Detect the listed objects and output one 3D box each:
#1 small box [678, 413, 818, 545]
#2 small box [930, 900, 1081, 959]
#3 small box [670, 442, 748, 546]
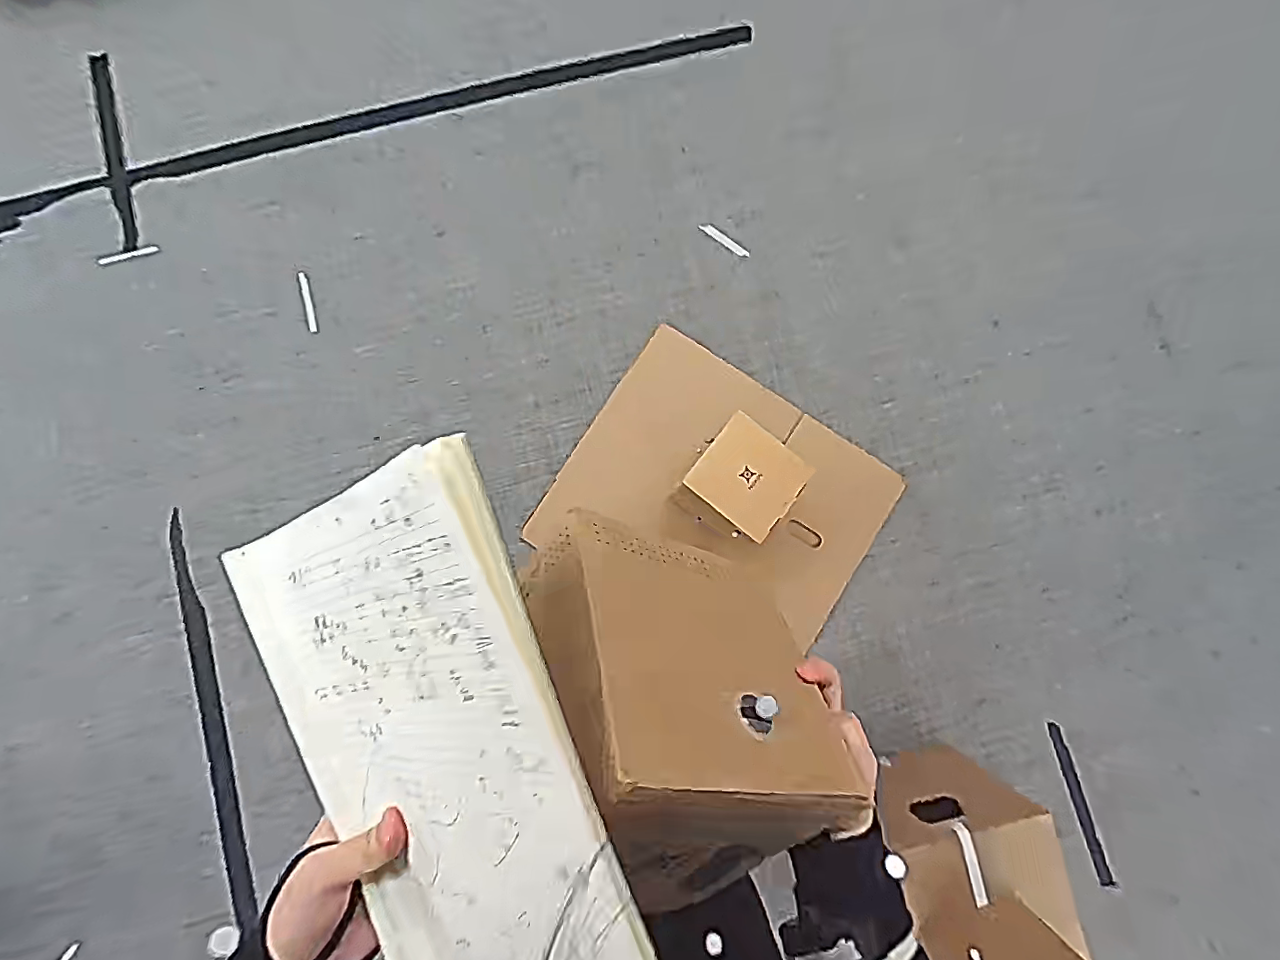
[{"bbox_3d":[0.188,0.006,1.008,0.179,0.176,0.168,39,85,0],"label":"small box"},{"bbox_3d":[0.568,0.787,0.807,0.179,0.176,0.168,-18,86,-3],"label":"small box"},{"bbox_3d":[0.186,0.022,1.170,0.179,0.176,0.168,38,85,0],"label":"small box"}]
